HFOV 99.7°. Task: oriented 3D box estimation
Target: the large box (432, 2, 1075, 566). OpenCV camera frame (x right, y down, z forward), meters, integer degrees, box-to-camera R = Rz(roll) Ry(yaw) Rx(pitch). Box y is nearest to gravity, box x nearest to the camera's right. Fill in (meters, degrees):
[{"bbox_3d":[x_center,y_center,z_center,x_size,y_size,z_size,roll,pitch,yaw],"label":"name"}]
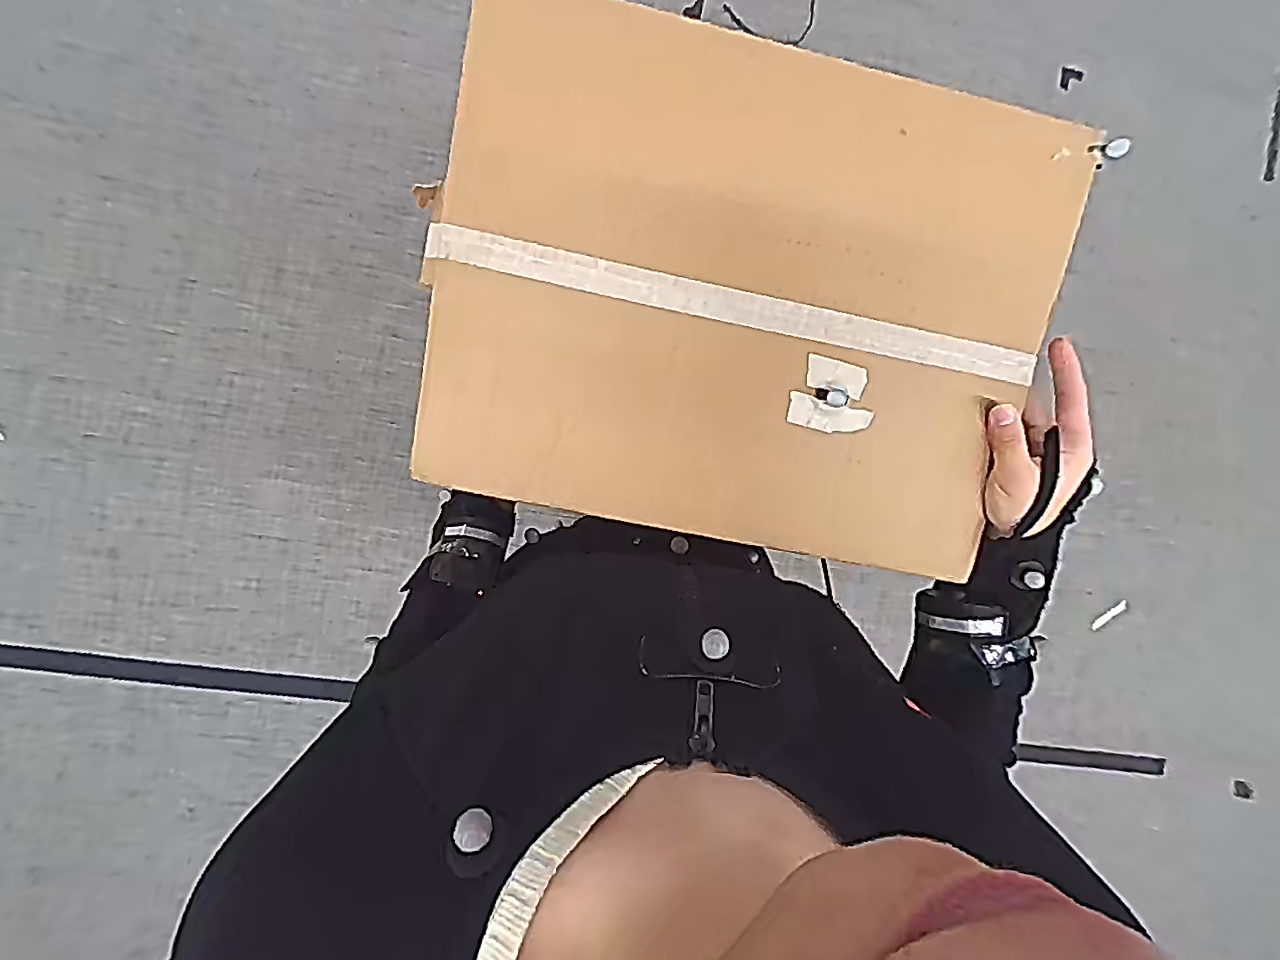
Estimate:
[{"bbox_3d":[0.063,-0.137,0.513,0.408,0.320,0.320,10,100,-6],"label":"large box"}]
